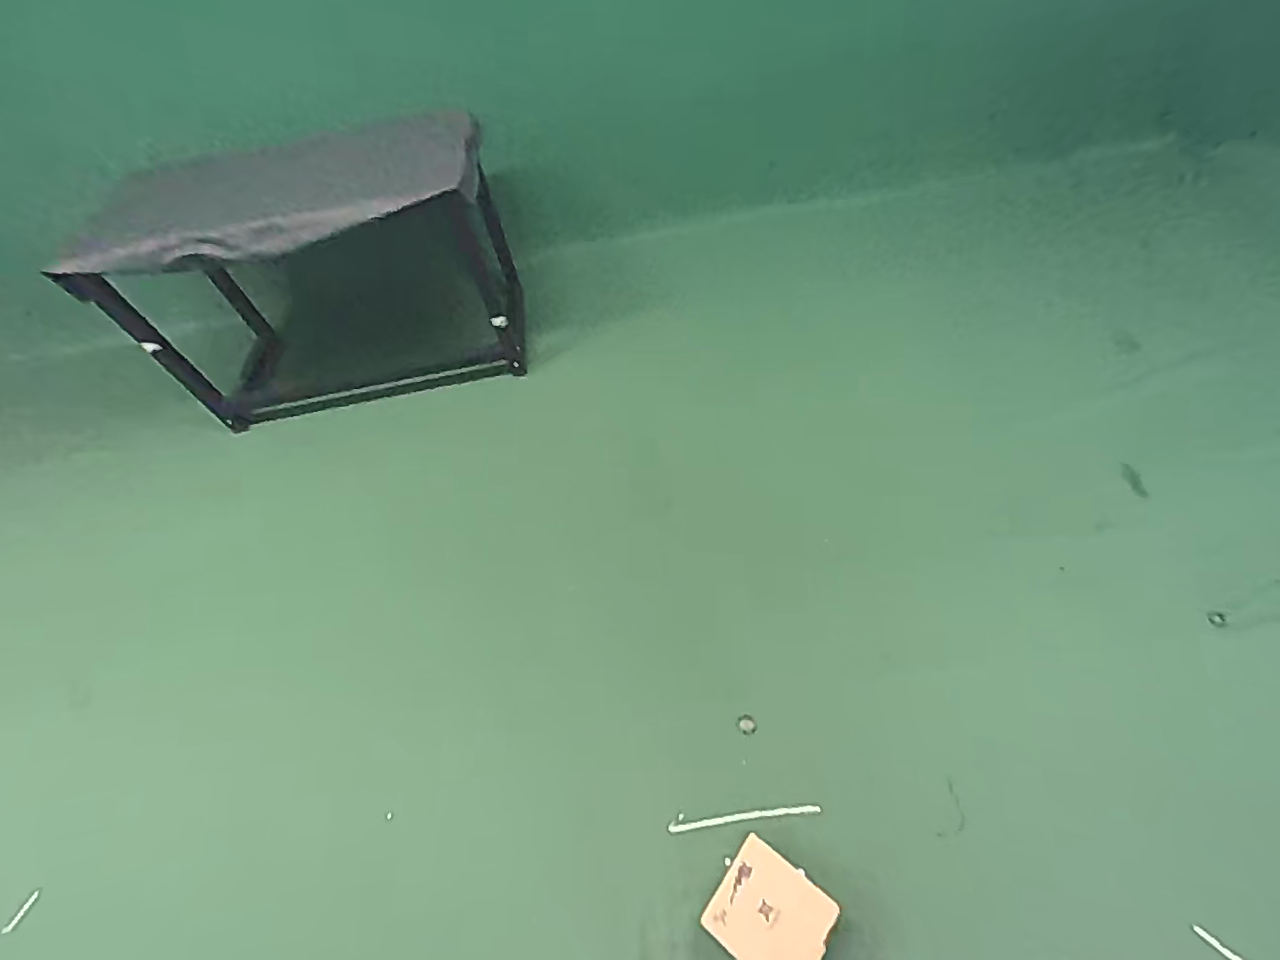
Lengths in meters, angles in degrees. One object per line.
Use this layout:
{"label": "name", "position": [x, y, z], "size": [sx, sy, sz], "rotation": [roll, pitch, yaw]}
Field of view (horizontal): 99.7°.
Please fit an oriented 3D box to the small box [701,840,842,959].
{"label": "small box", "position": [0.228, 0.781, 0.956], "size": [0.179, 0.176, 0.168], "rotation": [29, 61, 29]}
